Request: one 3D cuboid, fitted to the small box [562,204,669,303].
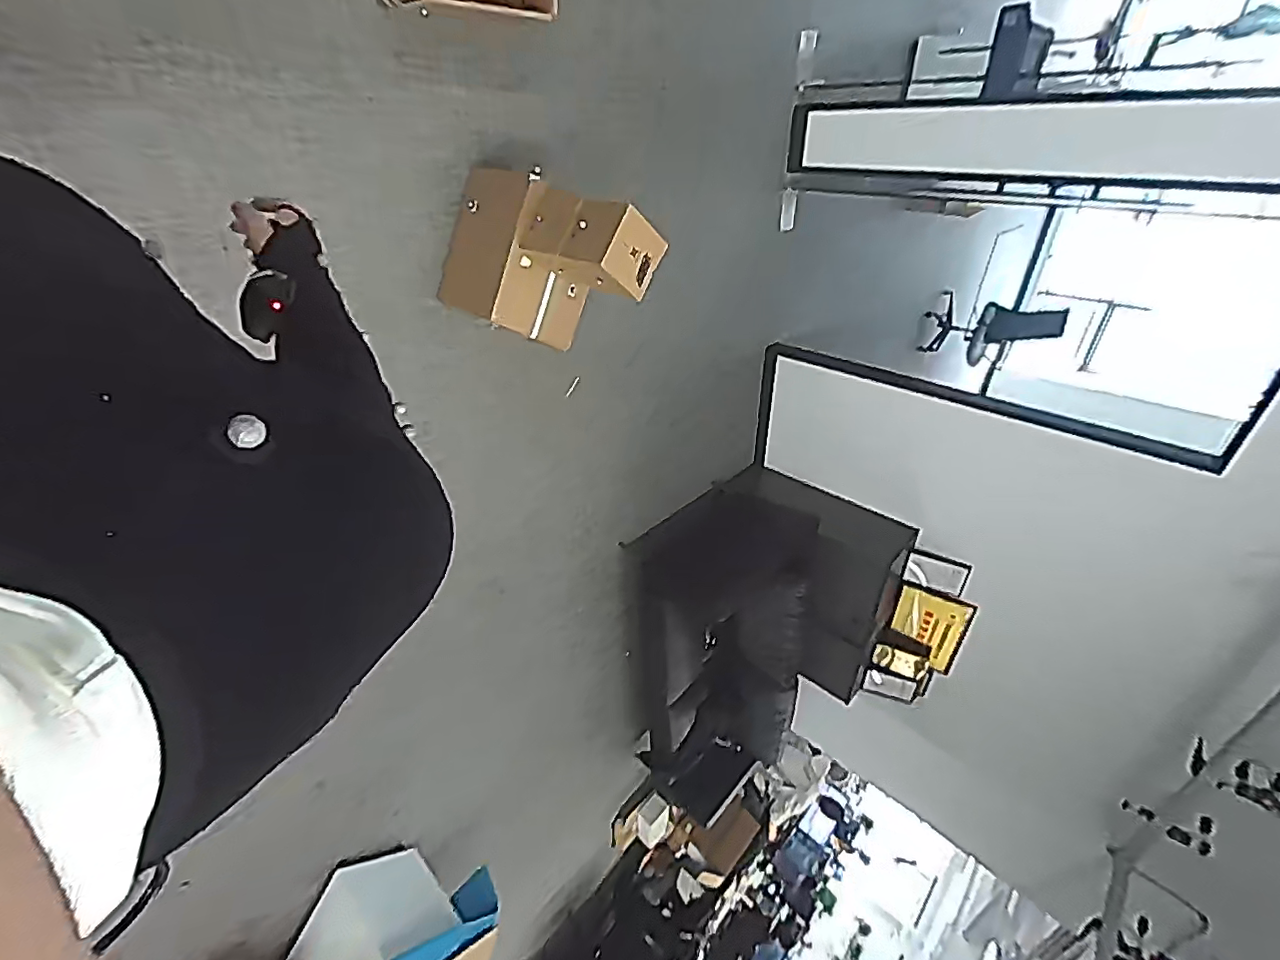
[{"bbox_3d":[-0.064,-0.583,1.382,0.179,0.176,0.168,24,93,-52],"label":"small box"}]
